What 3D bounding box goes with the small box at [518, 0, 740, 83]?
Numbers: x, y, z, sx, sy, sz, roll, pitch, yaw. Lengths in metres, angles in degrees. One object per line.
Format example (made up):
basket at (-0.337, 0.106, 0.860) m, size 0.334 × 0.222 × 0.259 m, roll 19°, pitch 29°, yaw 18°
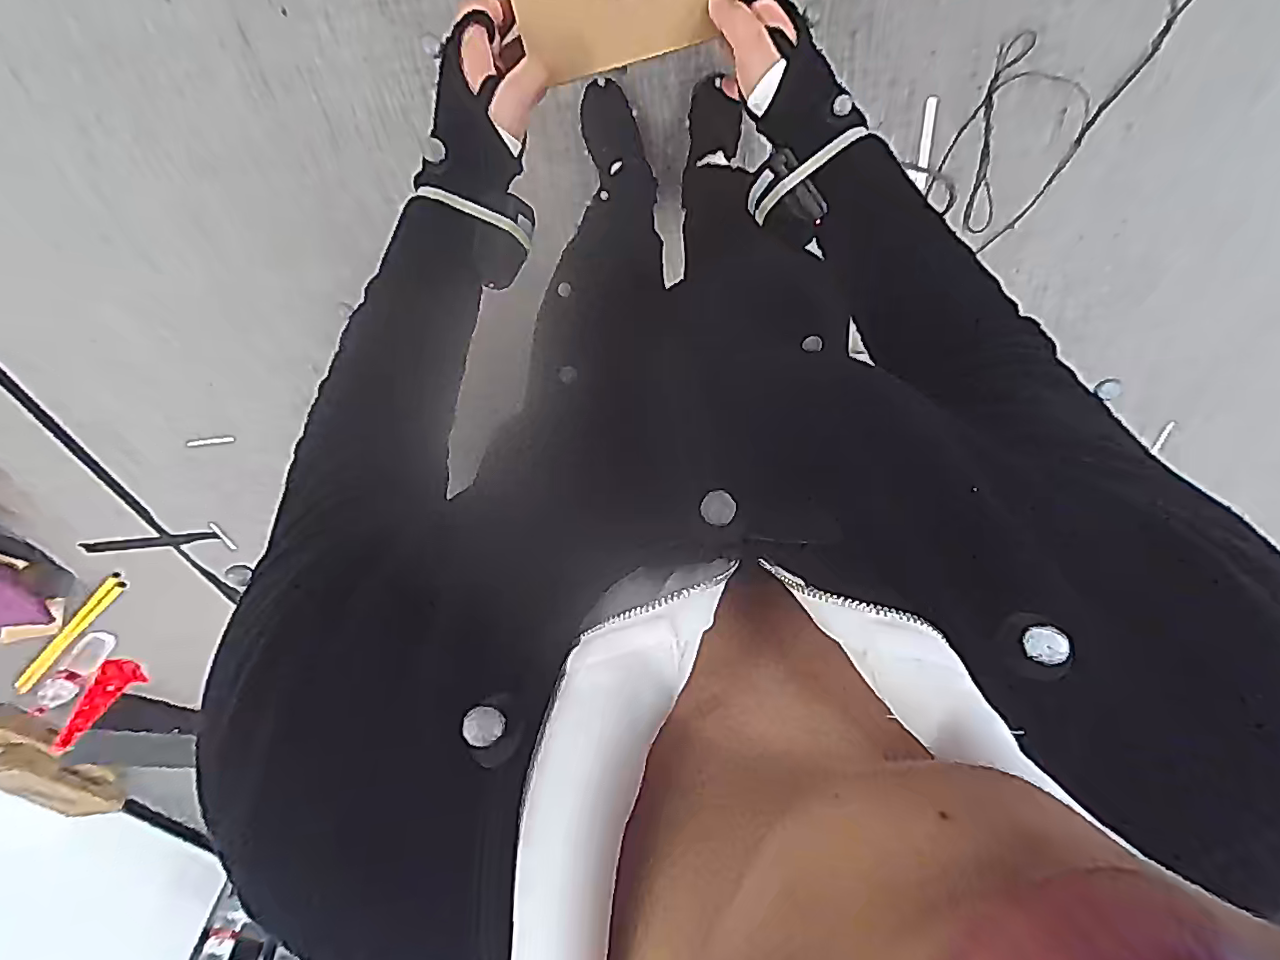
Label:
small box at (-0.026, -0.451, 0.431) m, size 0.168 × 0.176 × 0.179 m, roll -13°, pitch 133°, yaw 6°
